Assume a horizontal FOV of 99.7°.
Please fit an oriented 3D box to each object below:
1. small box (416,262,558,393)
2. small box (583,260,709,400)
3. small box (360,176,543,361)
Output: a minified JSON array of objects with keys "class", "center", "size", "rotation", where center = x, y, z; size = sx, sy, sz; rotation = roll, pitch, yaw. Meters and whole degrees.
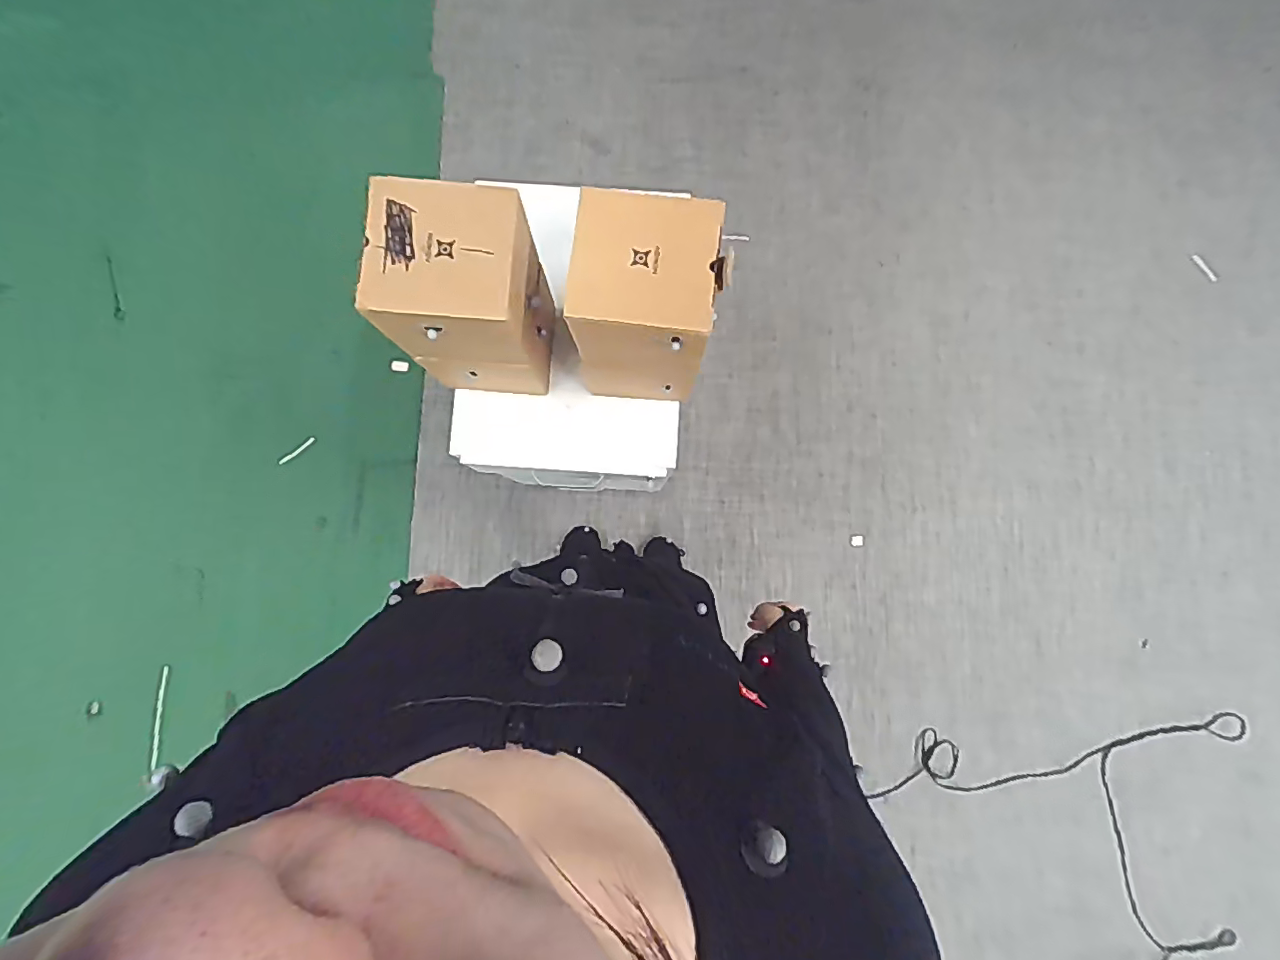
[{"class":"small box","center":[-0.235,-0.243,0.871],"size":[0.179,0.176,0.168],"rotation":[4,85,-2]},{"class":"small box","center":[0.011,-0.231,0.874],"size":[0.179,0.176,0.168],"rotation":[4,84,2]},{"class":"small box","center":[-0.232,-0.262,0.706],"size":[0.179,0.176,0.168],"rotation":[4,85,-2]}]
